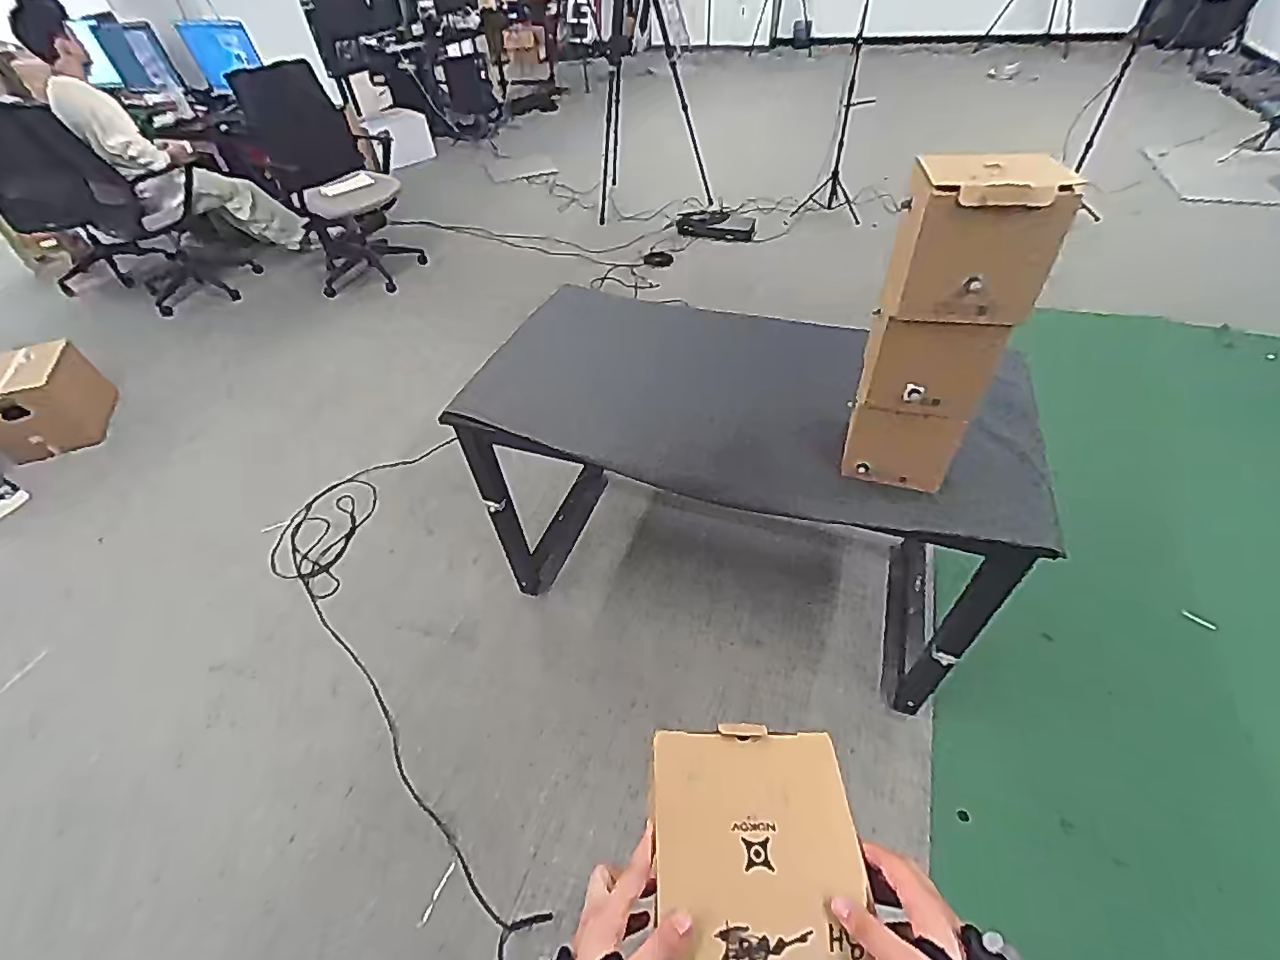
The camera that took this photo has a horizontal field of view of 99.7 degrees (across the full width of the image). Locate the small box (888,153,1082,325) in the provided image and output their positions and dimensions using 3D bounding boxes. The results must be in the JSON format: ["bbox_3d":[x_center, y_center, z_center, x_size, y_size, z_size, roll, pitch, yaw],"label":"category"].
[{"bbox_3d":[0.450,-0.334,0.743,0.168,0.176,0.179,6,45,14],"label":"small box"}]

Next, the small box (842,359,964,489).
[{"bbox_3d":[0.472,-0.108,0.980,0.168,0.176,0.179,13,46,17],"label":"small box"}]

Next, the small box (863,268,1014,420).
[{"bbox_3d":[0.461,-0.221,0.865,0.168,0.176,0.179,9,47,15],"label":"small box"}]

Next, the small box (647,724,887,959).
[{"bbox_3d":[0.092,0.346,0.494,0.168,0.176,0.179,0,43,-1],"label":"small box"}]
